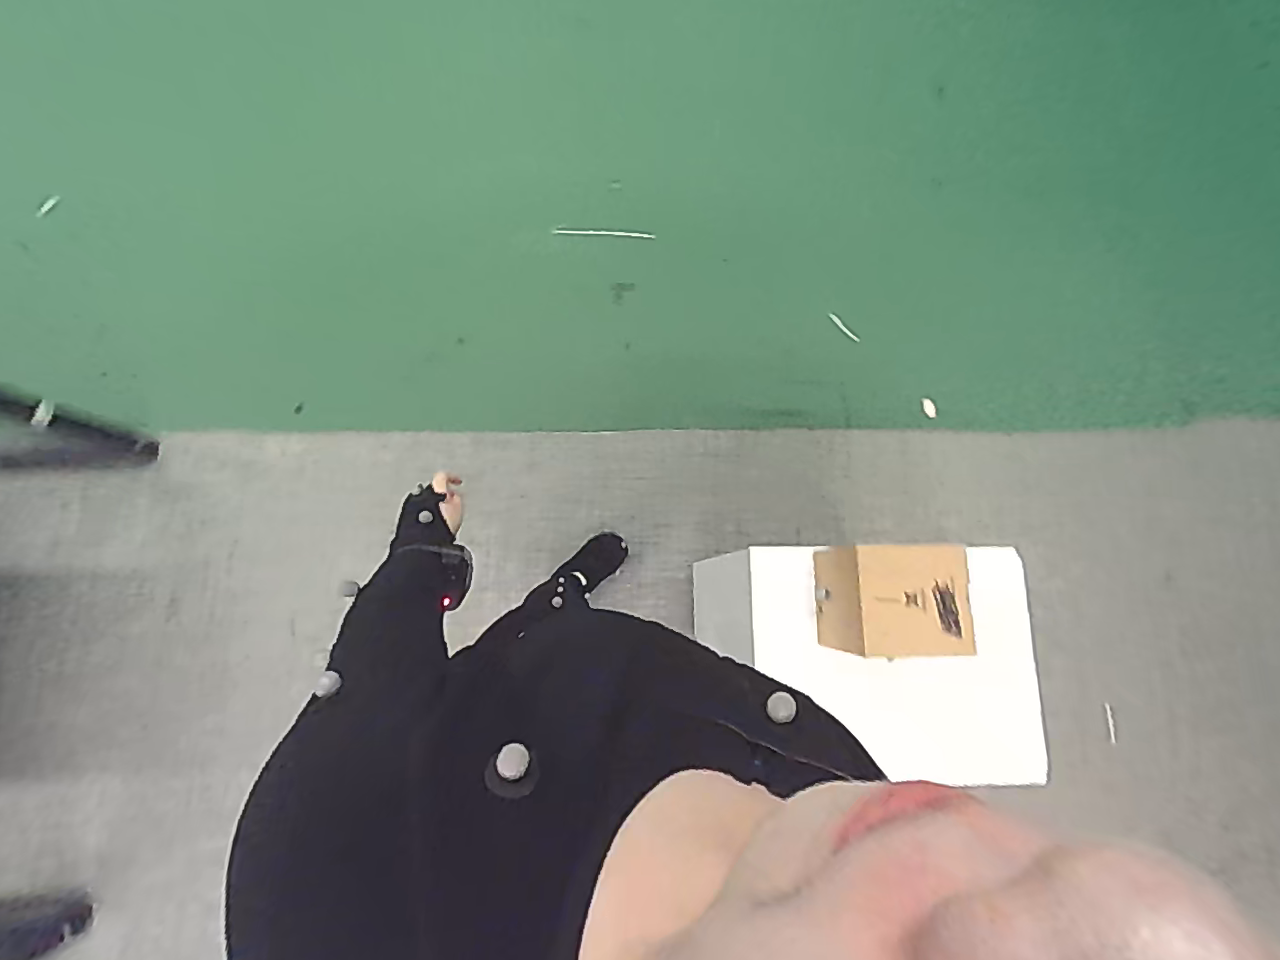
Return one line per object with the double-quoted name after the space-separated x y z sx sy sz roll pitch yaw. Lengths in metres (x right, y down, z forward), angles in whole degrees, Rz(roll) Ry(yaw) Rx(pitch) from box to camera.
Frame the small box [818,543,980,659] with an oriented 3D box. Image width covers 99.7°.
0.405 0.190 0.872 0.179 0.176 0.168 2 80 -4 "small box"
